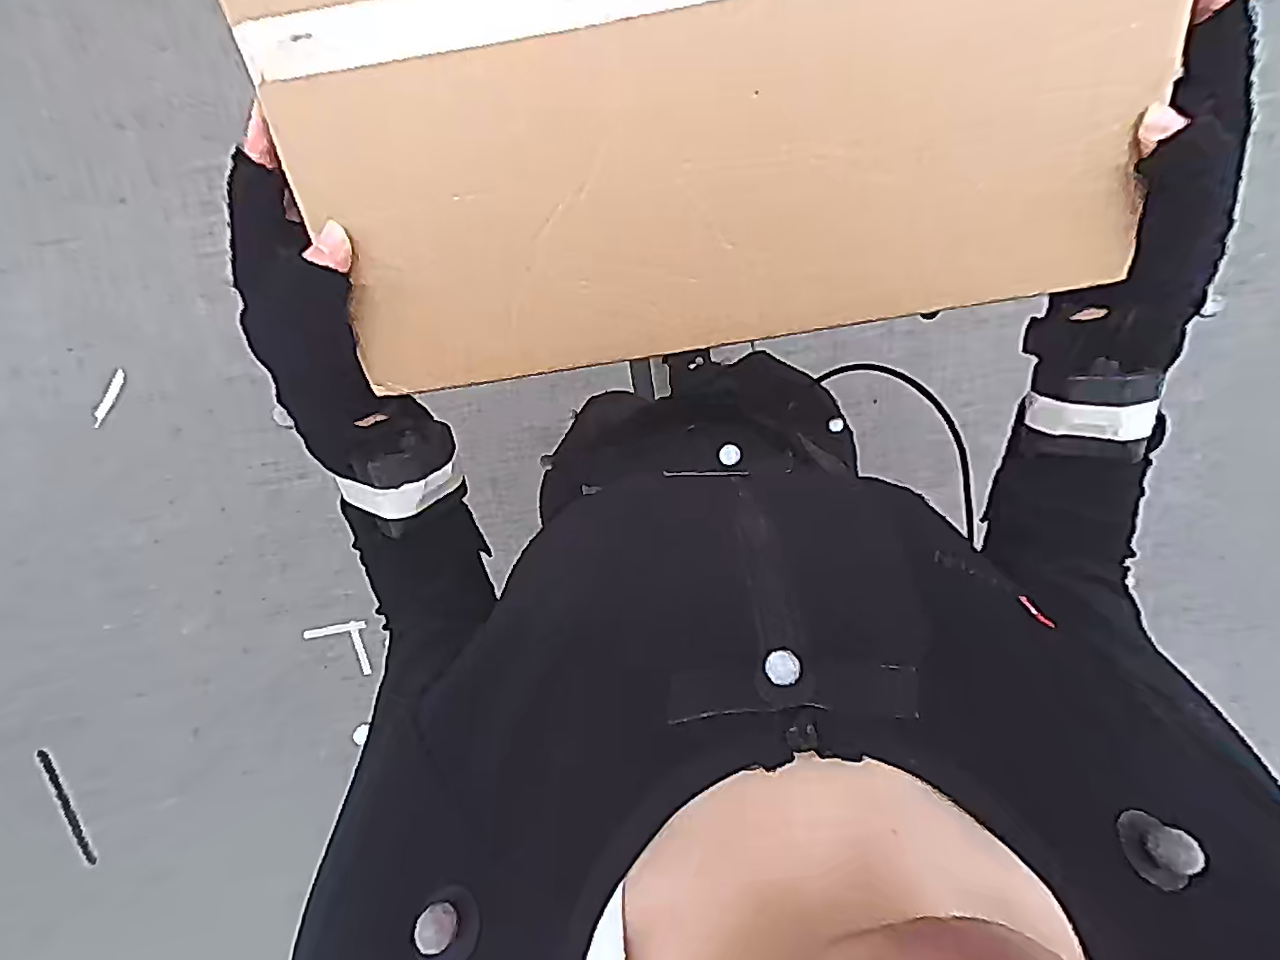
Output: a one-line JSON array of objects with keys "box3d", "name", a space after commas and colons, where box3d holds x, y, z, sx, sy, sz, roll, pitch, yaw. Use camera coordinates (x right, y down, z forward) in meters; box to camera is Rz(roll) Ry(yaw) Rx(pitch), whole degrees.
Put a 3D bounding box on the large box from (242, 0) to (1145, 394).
[{"box3d": [0.024, -0.282, 0.370, 0.408, 0.320, 0.320, -9, 115, 3], "name": "large box"}]
